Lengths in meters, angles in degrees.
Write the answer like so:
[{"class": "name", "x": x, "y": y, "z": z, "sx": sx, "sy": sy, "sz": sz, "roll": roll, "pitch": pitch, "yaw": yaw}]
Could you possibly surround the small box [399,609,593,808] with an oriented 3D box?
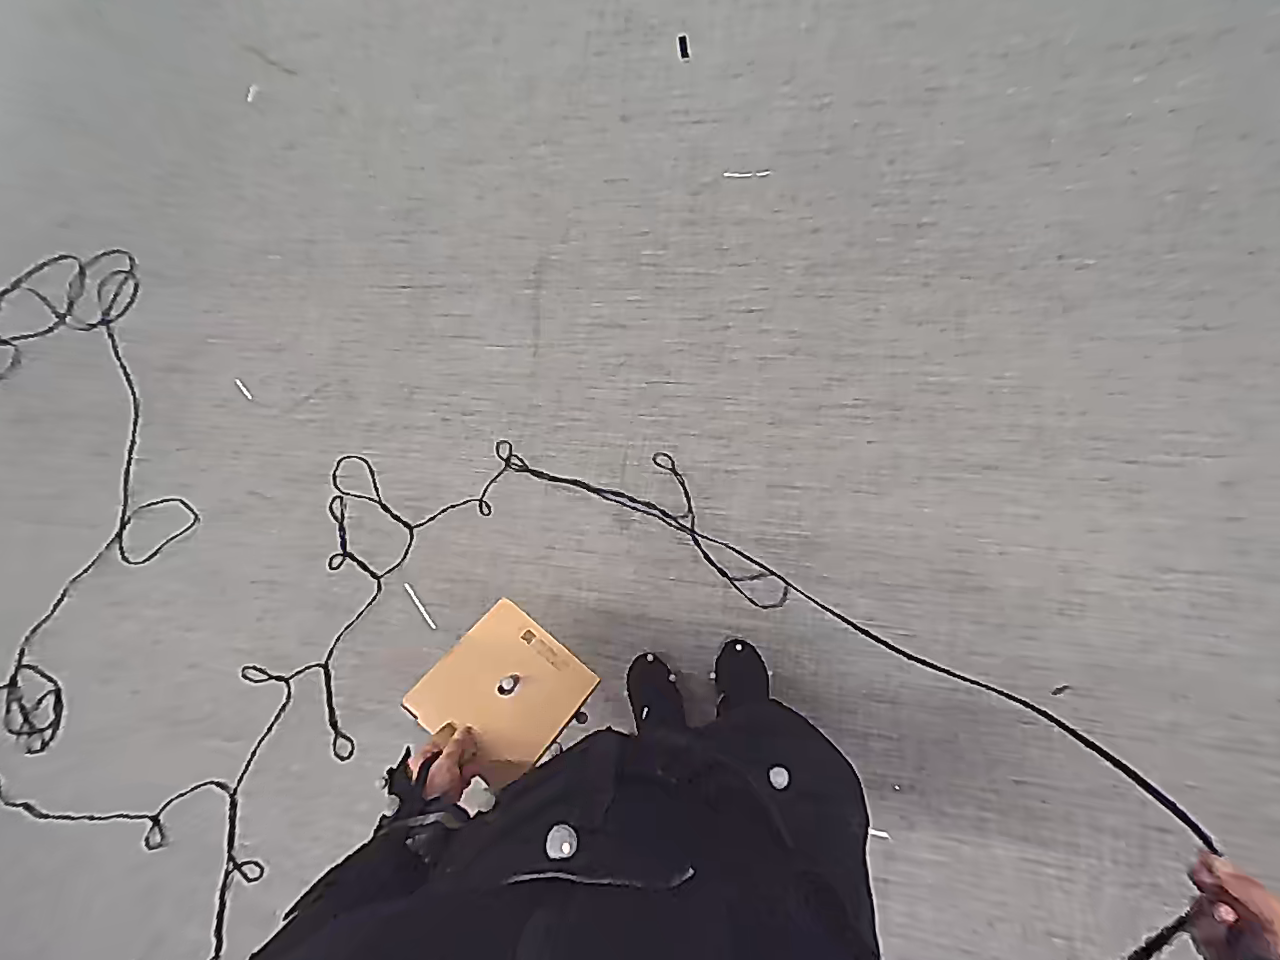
[{"class": "small box", "x": -0.180, "y": 0.298, "z": 0.714, "sx": 0.168, "sy": 0.179, "sz": 0.176, "roll": 36, "pitch": 59, "yaw": 10}]
